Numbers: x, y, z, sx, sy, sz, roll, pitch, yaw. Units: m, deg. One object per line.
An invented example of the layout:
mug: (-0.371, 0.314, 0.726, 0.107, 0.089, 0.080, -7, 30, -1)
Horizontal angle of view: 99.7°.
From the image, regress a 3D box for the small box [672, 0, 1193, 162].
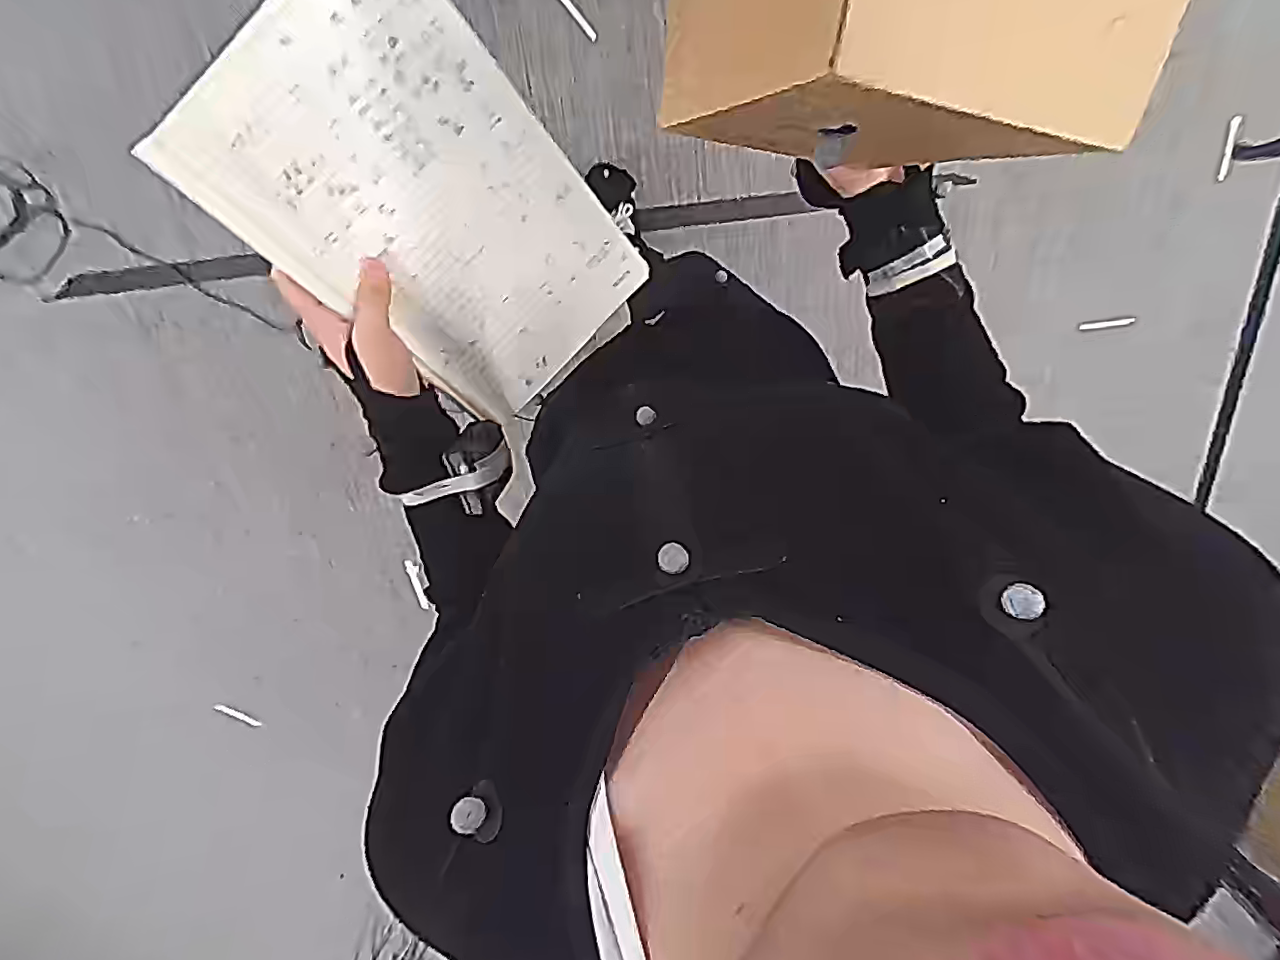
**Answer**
small box: (0.125, -0.259, 0.247, 0.168, 0.176, 0.179, -2, 116, -20)

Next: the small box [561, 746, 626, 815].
small box: (-0.123, 0.841, 1.454, 0.168, 0.176, 0.179, -3, 112, -3)

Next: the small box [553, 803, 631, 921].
small box: (-0.112, 0.911, 1.306, 0.168, 0.176, 0.179, -5, 111, -1)
